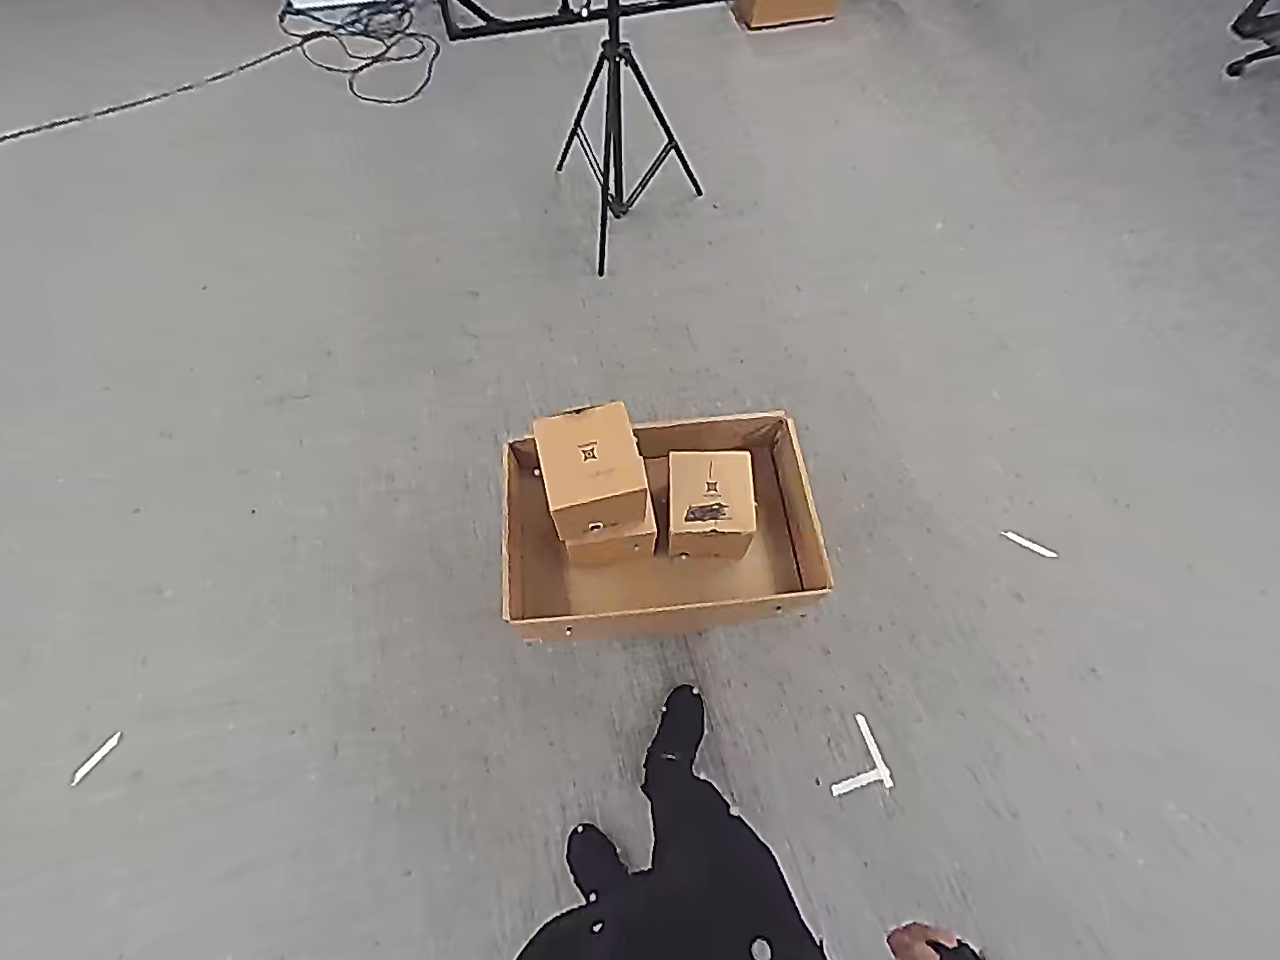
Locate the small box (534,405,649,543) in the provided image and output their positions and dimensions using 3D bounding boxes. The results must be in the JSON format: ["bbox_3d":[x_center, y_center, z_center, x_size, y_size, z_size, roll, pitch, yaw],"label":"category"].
[{"bbox_3d":[-0.086,-0.006,0.974,0.168,0.176,0.179,-13,66,-7],"label":"small box"}]
